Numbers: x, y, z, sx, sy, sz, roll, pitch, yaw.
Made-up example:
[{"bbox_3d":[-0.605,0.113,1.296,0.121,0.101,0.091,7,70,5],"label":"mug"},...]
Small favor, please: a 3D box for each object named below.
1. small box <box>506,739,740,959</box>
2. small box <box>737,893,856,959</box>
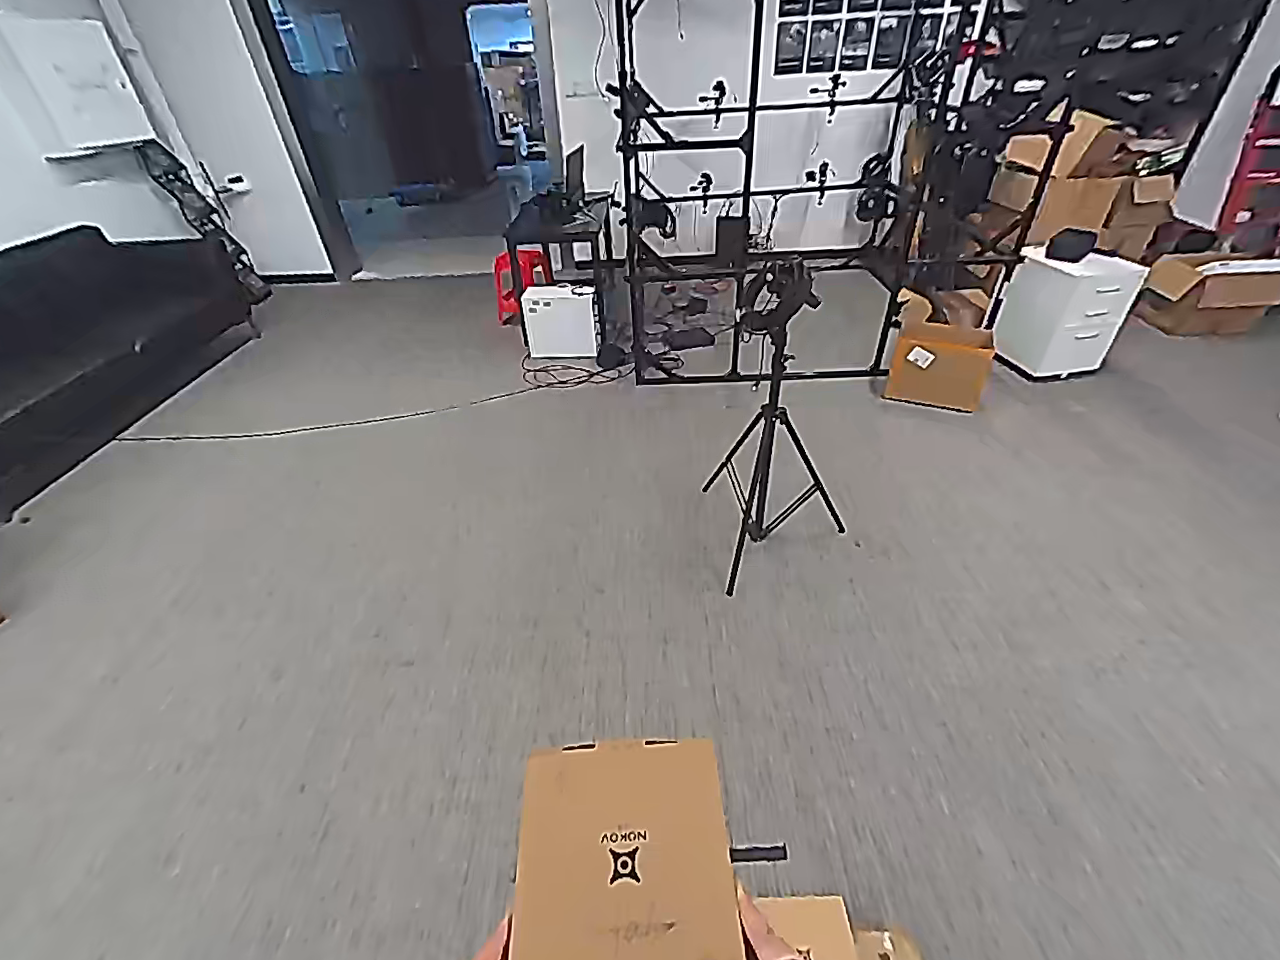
[{"bbox_3d":[-0.015,0.352,0.473,0.168,0.176,0.179,-2,42,-2],"label":"small box"},{"bbox_3d":[0.253,0.804,0.877,0.168,0.176,0.179,-2,37,1],"label":"small box"}]
